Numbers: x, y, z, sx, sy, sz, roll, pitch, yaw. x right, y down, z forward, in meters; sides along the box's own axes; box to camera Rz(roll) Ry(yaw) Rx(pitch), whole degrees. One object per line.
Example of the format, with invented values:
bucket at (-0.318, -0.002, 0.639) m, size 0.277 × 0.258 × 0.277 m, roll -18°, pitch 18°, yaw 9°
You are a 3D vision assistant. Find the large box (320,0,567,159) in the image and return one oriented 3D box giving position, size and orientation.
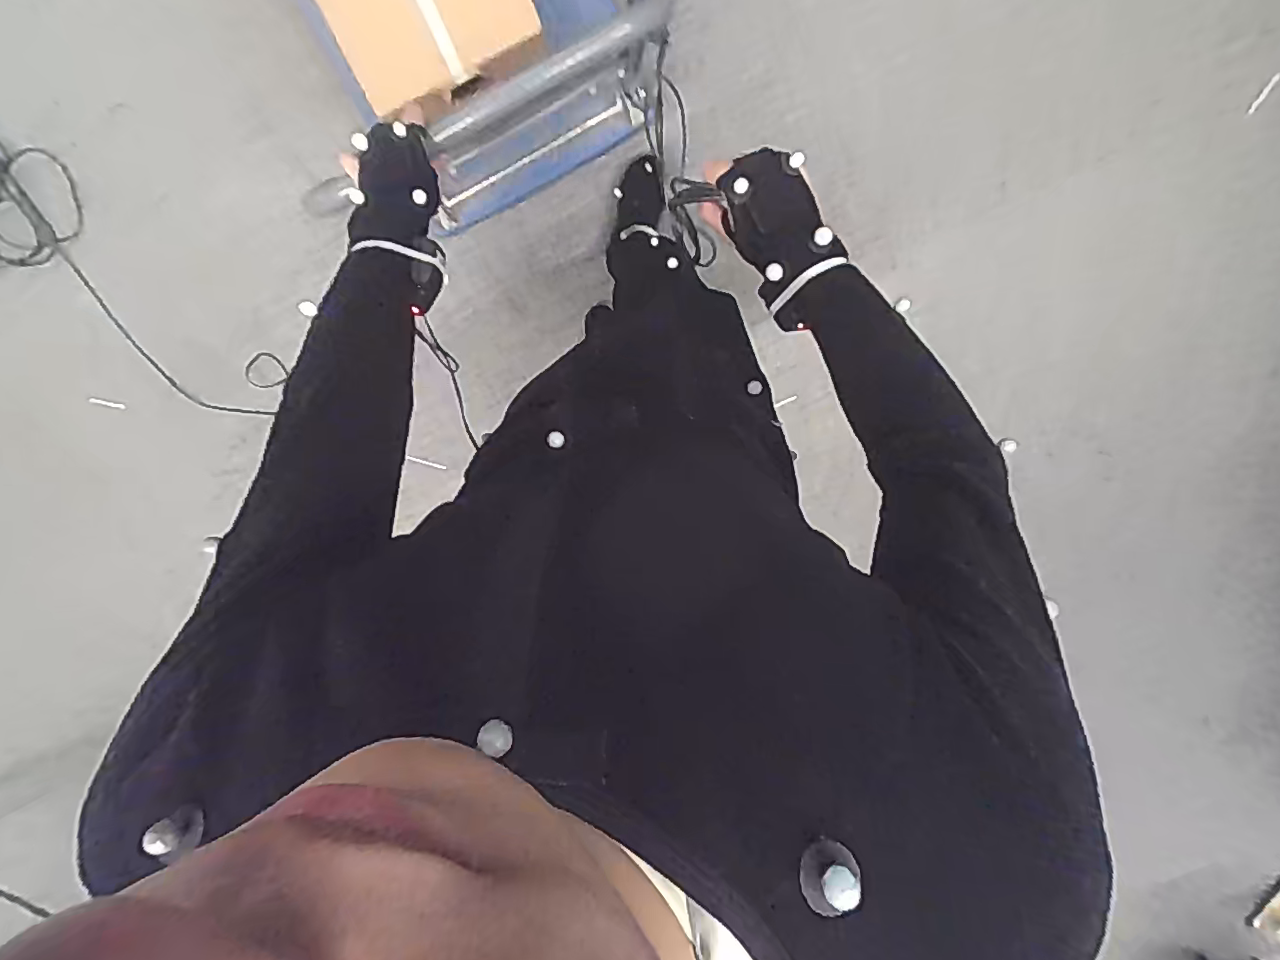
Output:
large box at (-0.368, -0.875, 0.969) m, size 0.320 × 0.320 × 0.408 m, roll -22°, pitch 111°, yaw 7°
